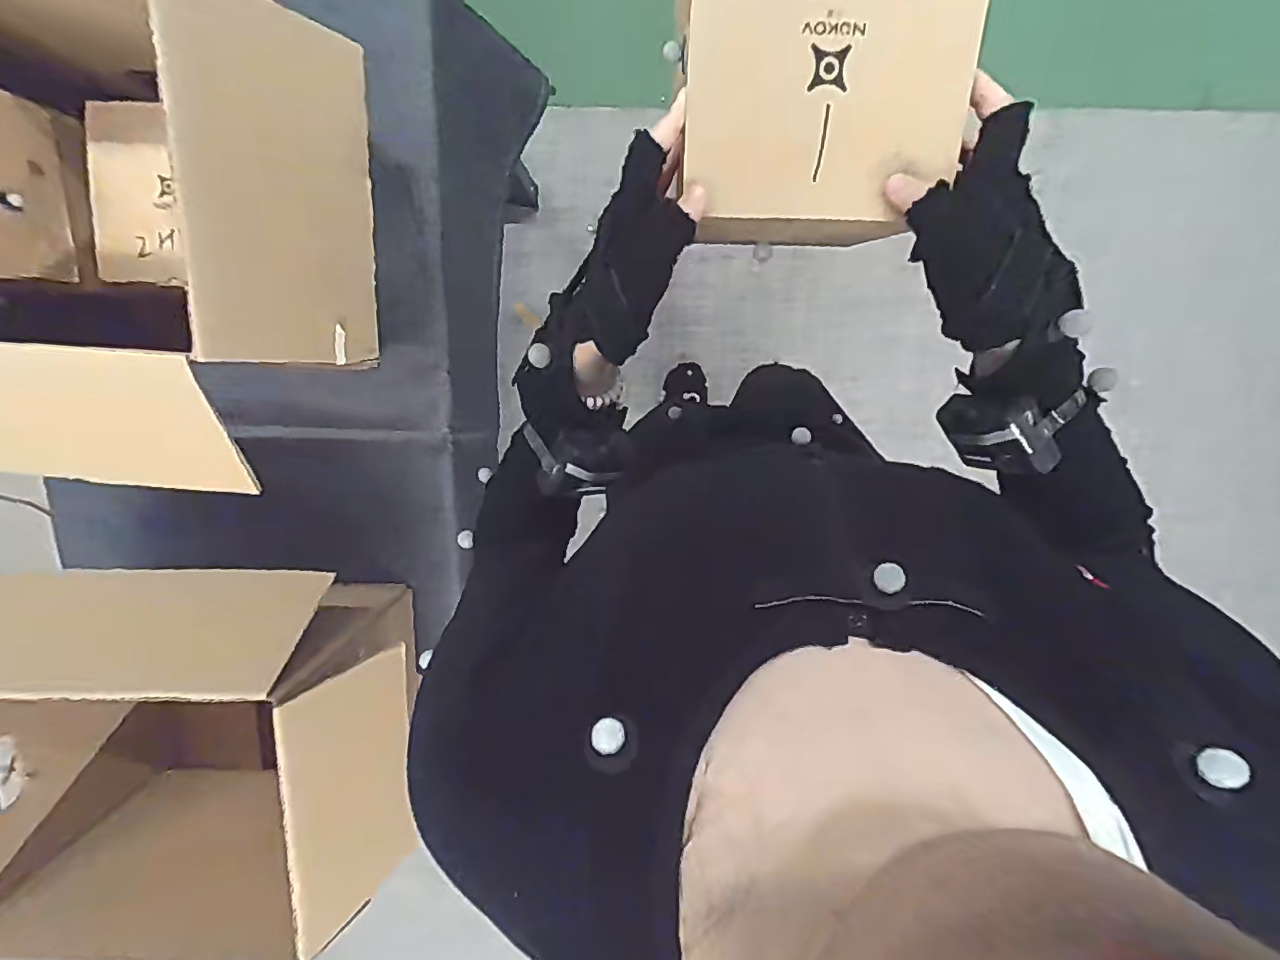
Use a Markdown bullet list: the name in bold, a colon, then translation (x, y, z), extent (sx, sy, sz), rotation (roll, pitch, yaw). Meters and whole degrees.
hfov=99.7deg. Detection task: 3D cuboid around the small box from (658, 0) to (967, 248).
- **small box**: translation (0.101, -0.274, 0.389), extent (0.168, 0.176, 0.179), rotation (1, 108, -1)
